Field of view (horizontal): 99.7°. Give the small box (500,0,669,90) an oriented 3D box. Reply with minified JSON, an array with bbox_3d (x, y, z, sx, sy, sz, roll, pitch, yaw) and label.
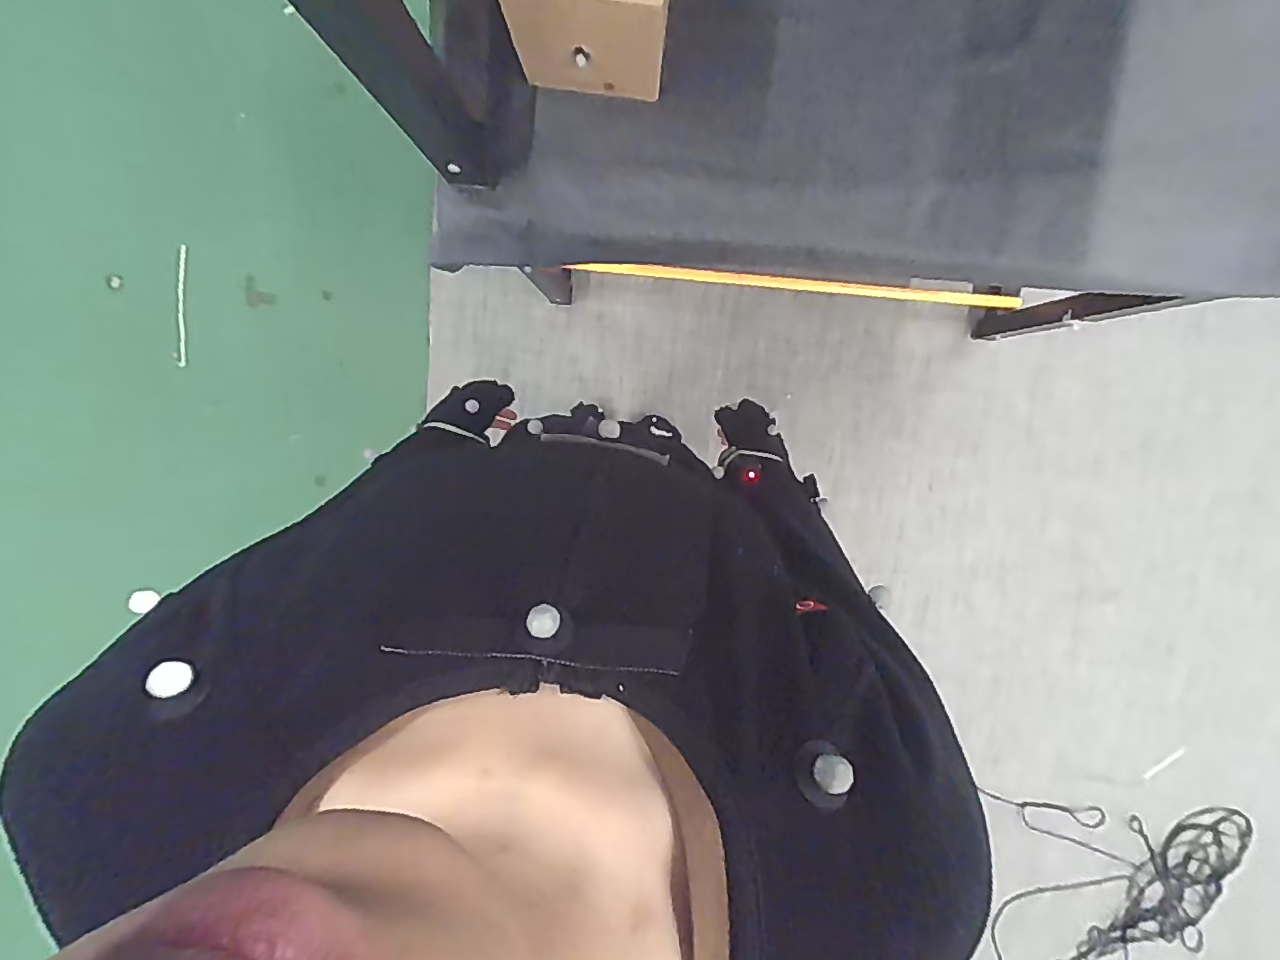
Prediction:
[{"bbox_3d":[-0.049,-0.558,0.573,0.168,0.176,0.179,7,98,-1],"label":"small box"}]
